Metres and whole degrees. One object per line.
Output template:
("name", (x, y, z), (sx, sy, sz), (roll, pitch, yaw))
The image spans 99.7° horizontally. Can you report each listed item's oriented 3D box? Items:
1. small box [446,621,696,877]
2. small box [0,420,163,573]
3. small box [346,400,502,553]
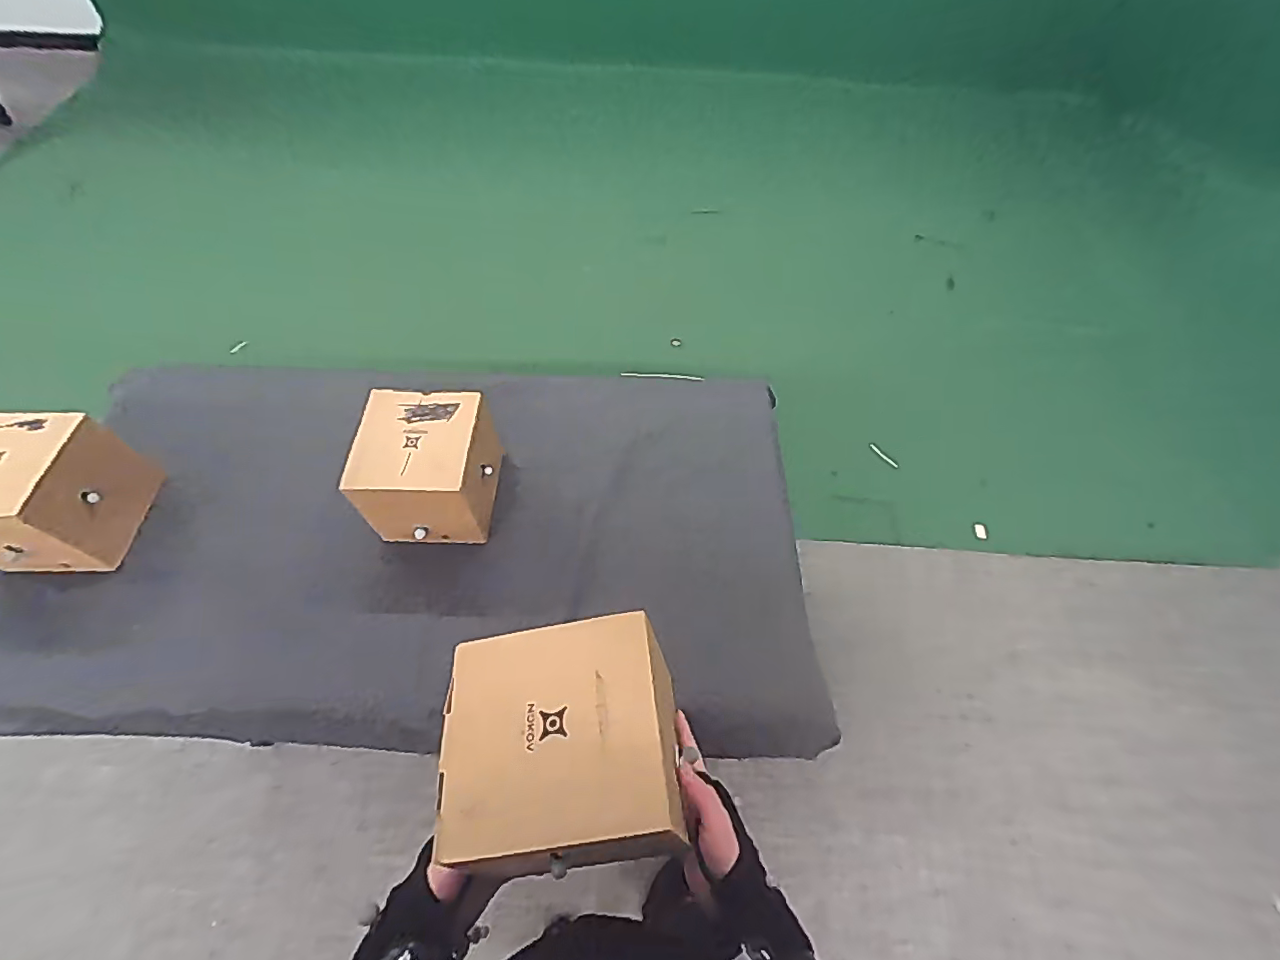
("small box", (-0.052, 0.252, 0.498), (0.179, 0.176, 0.168), (-11, 51, 3))
("small box", (-0.868, 0.030, 0.796), (0.168, 0.176, 0.179), (0, 58, -3))
("small box", (-0.319, -0.003, 0.842), (0.168, 0.176, 0.179), (2, 59, -1))
